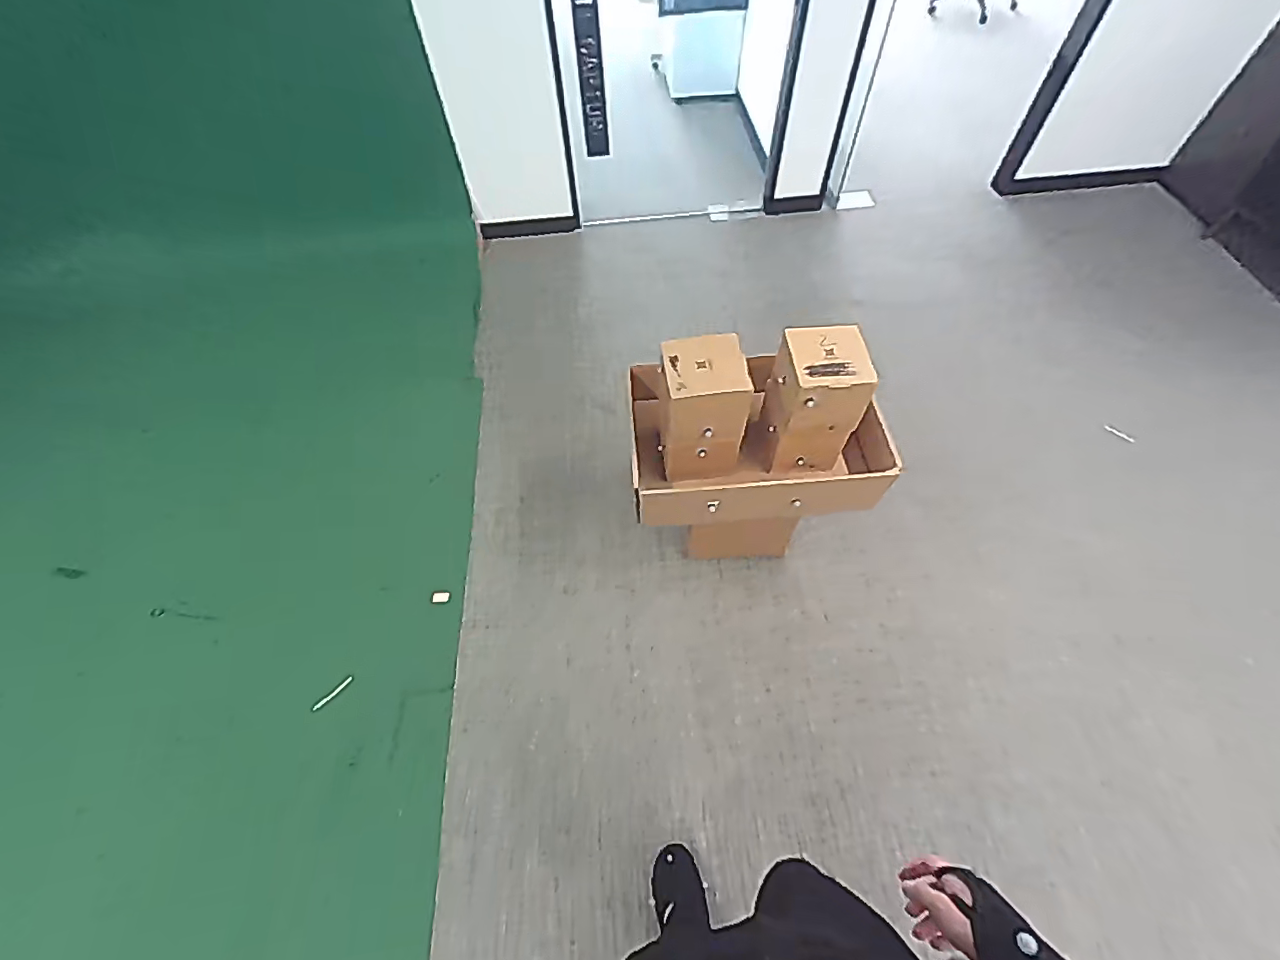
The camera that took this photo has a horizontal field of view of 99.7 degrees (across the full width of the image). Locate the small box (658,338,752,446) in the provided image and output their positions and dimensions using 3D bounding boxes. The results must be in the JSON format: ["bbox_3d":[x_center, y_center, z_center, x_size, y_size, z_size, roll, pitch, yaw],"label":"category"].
[{"bbox_3d":[0.138,-0.195,1.216,0.179,0.176,0.168,-6,58,-3],"label":"small box"}]

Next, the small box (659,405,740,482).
[{"bbox_3d":[0.140,-0.107,1.355,0.179,0.176,0.168,-4,57,-3],"label":"small box"}]
